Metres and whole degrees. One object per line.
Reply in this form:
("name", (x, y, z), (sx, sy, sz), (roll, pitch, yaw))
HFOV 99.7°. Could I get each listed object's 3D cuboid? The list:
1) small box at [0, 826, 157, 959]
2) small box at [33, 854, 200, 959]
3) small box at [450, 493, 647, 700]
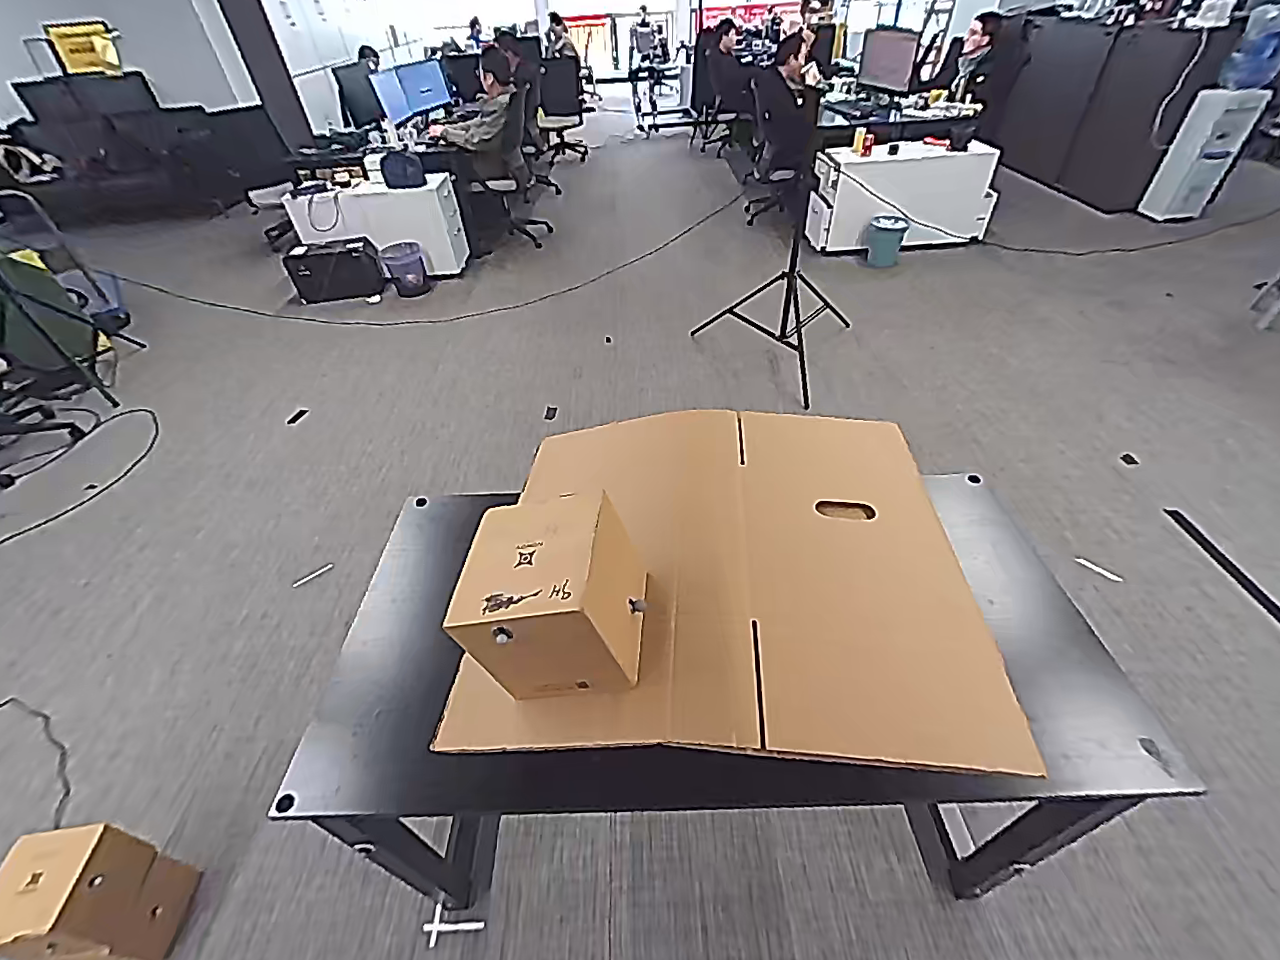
("small box", (-1.130, 0.823, 1.076), (0.168, 0.176, 0.179), (-7, 41, -4))
("small box", (-1.120, 0.948, 1.180), (0.168, 0.176, 0.179), (-5, 43, -1))
("small box", (-0.096, 0.145, 0.667), (0.168, 0.176, 0.179), (-12, 39, 16))
